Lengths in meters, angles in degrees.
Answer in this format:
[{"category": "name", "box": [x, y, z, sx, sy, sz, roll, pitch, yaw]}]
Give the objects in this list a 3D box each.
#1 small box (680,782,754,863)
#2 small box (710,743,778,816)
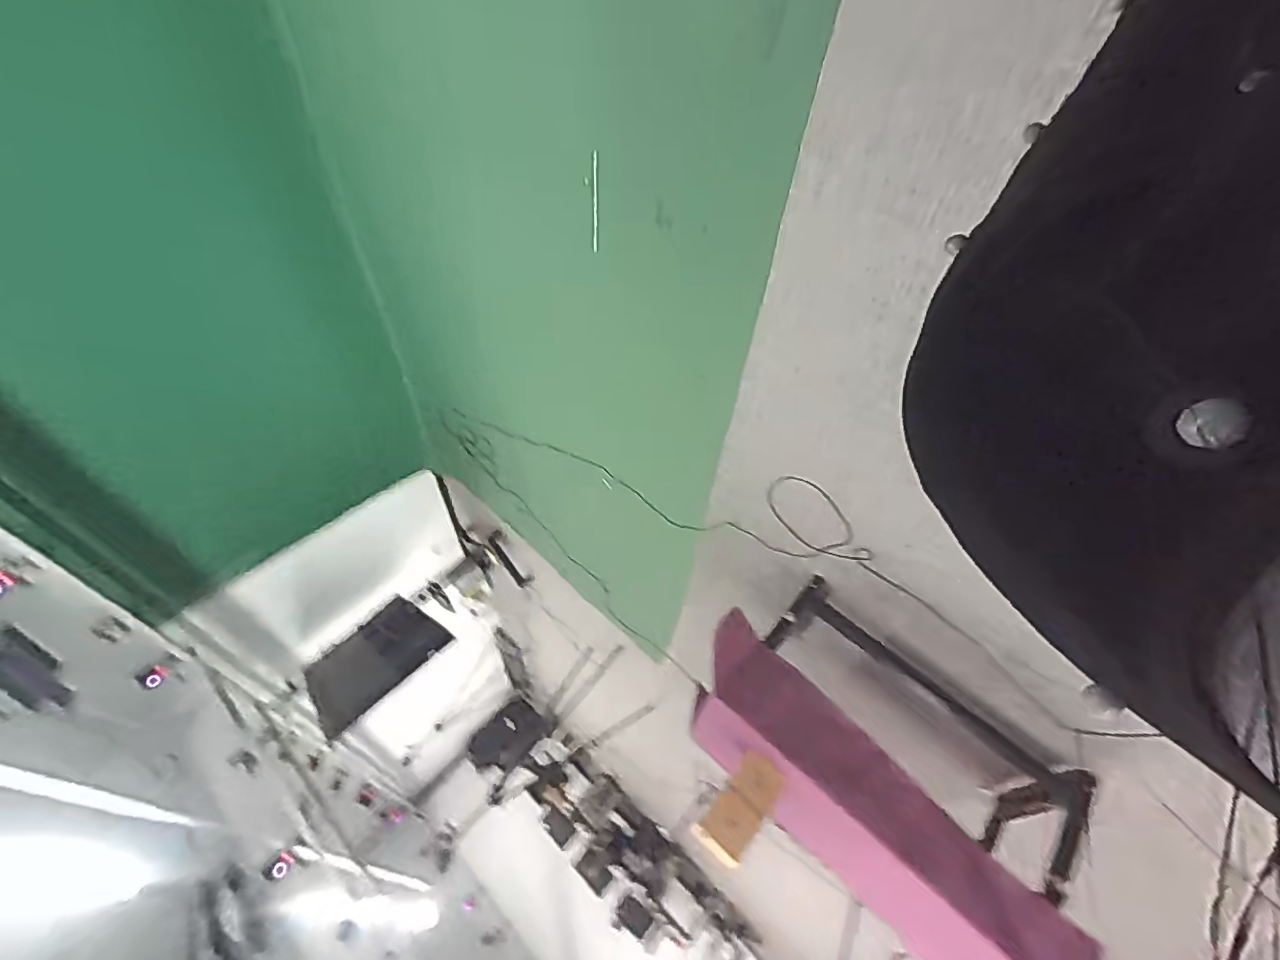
[{"category": "small box", "box": [0.270, 1.197, 1.903, 0.179, 0.176, 0.168, 37, 147, 23]}, {"category": "small box", "box": [0.381, 1.111, 1.990, 0.179, 0.176, 0.168, 36, 146, 24]}]
